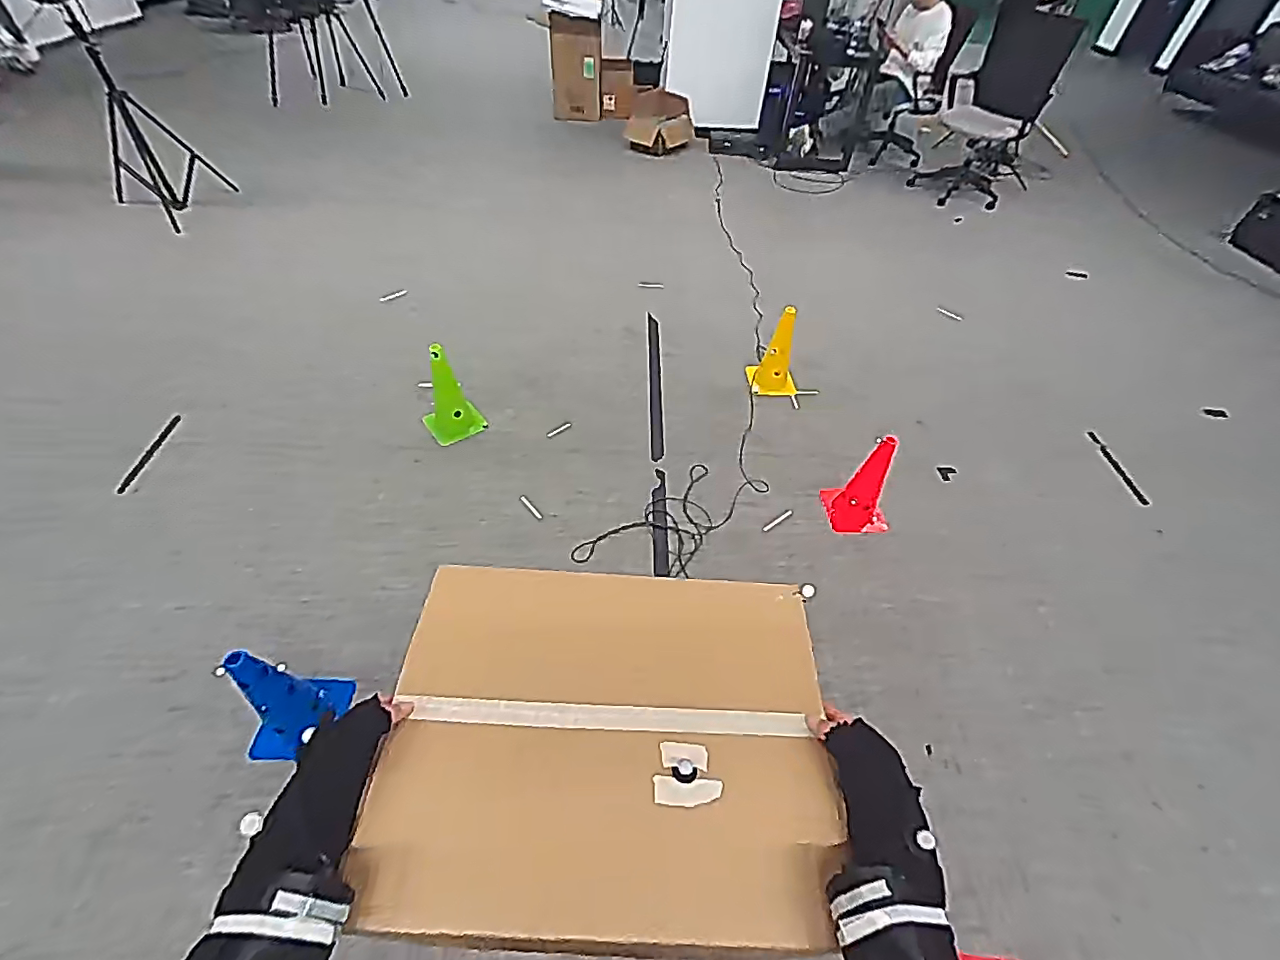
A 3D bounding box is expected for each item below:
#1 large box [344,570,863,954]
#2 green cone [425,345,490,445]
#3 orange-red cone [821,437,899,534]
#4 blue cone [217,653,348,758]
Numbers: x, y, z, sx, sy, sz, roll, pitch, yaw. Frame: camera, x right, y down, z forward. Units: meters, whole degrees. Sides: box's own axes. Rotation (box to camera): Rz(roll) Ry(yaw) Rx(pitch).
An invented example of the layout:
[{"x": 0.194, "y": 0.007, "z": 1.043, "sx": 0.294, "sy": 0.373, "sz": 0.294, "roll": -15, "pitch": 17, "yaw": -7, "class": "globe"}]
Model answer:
[{"x": -0.033, "y": 0.325, "z": 0.615, "sx": 0.408, "sy": 0.320, "sz": 0.320, "roll": 4, "pitch": 47, "yaw": -2, "class": "large box"}, {"x": -0.715, "y": -0.342, "z": 2.003, "sx": 0.202, "sy": 0.368, "sz": 0.200, "roll": -30, "pitch": 56, "yaw": -25, "class": "green cone"}, {"x": 0.772, "y": -0.003, "z": 1.806, "sx": 0.198, "sy": 0.360, "sz": 0.199, "roll": 0, "pitch": 47, "yaw": -5, "class": "orange-red cone"}, {"x": -0.856, "y": 0.499, "z": 1.259, "sx": 0.192, "sy": 0.380, "sz": 0.193, "roll": 3, "pitch": 48, "yaw": 0, "class": "blue cone"}]
